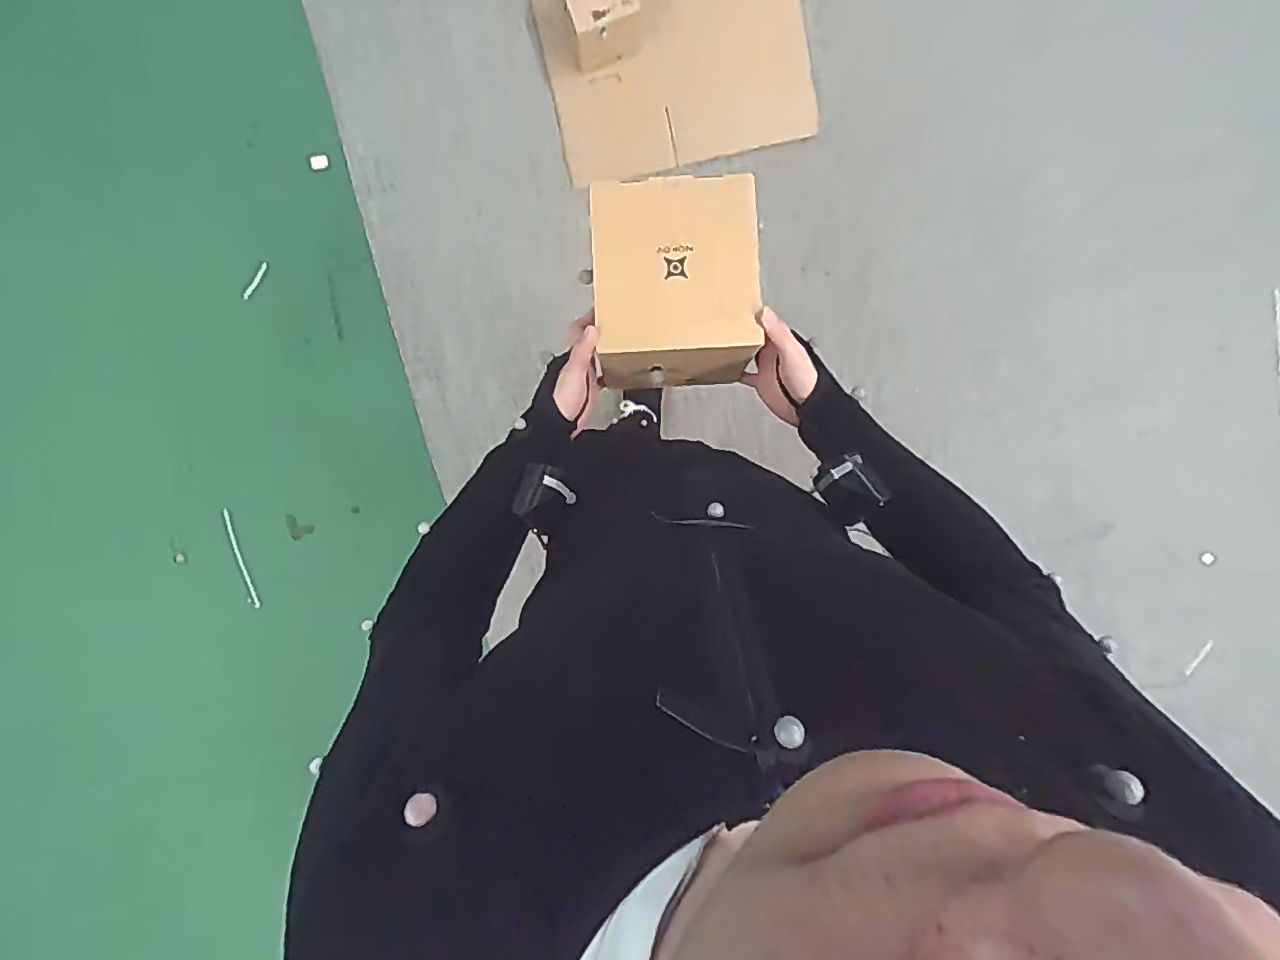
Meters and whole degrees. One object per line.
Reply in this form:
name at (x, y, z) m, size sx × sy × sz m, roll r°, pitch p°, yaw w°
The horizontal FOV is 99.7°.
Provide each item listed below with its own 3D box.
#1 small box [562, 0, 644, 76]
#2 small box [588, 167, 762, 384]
small box at (-0.096, -1.168, 1.349) m, size 0.168 × 0.176 × 0.179 m, roll -20°, pitch 97°, yaw 2°
small box at (0.036, -0.209, 0.602) m, size 0.168 × 0.176 × 0.179 m, roll -3°, pitch 86°, yaw 1°
